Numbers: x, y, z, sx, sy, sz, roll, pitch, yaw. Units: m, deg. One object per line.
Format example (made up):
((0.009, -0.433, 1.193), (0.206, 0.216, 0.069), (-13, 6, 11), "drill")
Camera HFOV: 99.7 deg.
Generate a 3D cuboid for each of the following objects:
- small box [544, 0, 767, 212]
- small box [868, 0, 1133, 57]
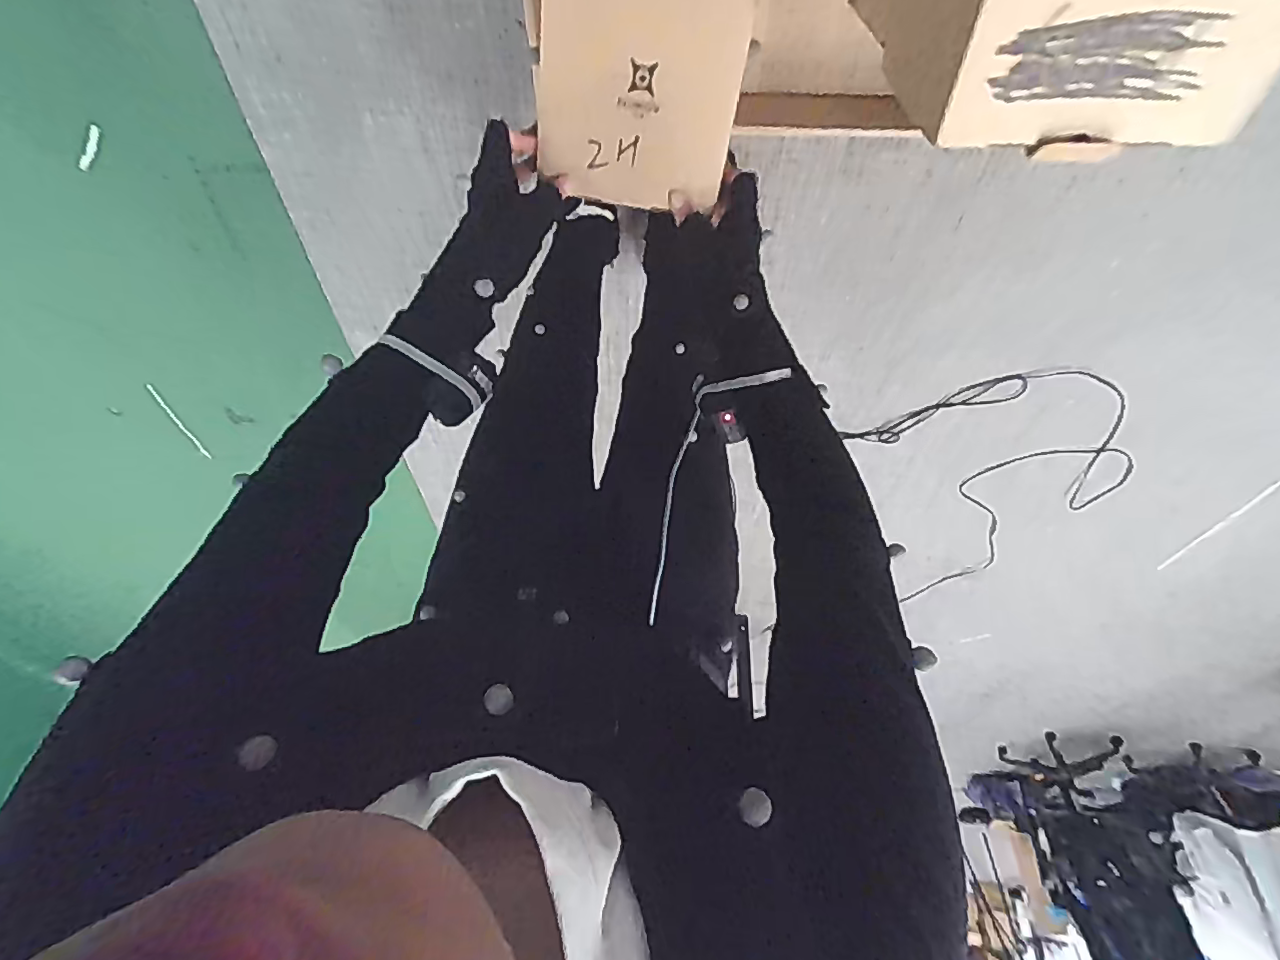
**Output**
((0.005, -0.375, 0.505), (0.168, 0.176, 0.179), (6, 128, -6), "small box")
((0.281, -0.447, 0.400), (0.168, 0.176, 0.179), (4, 141, 2), "small box")
